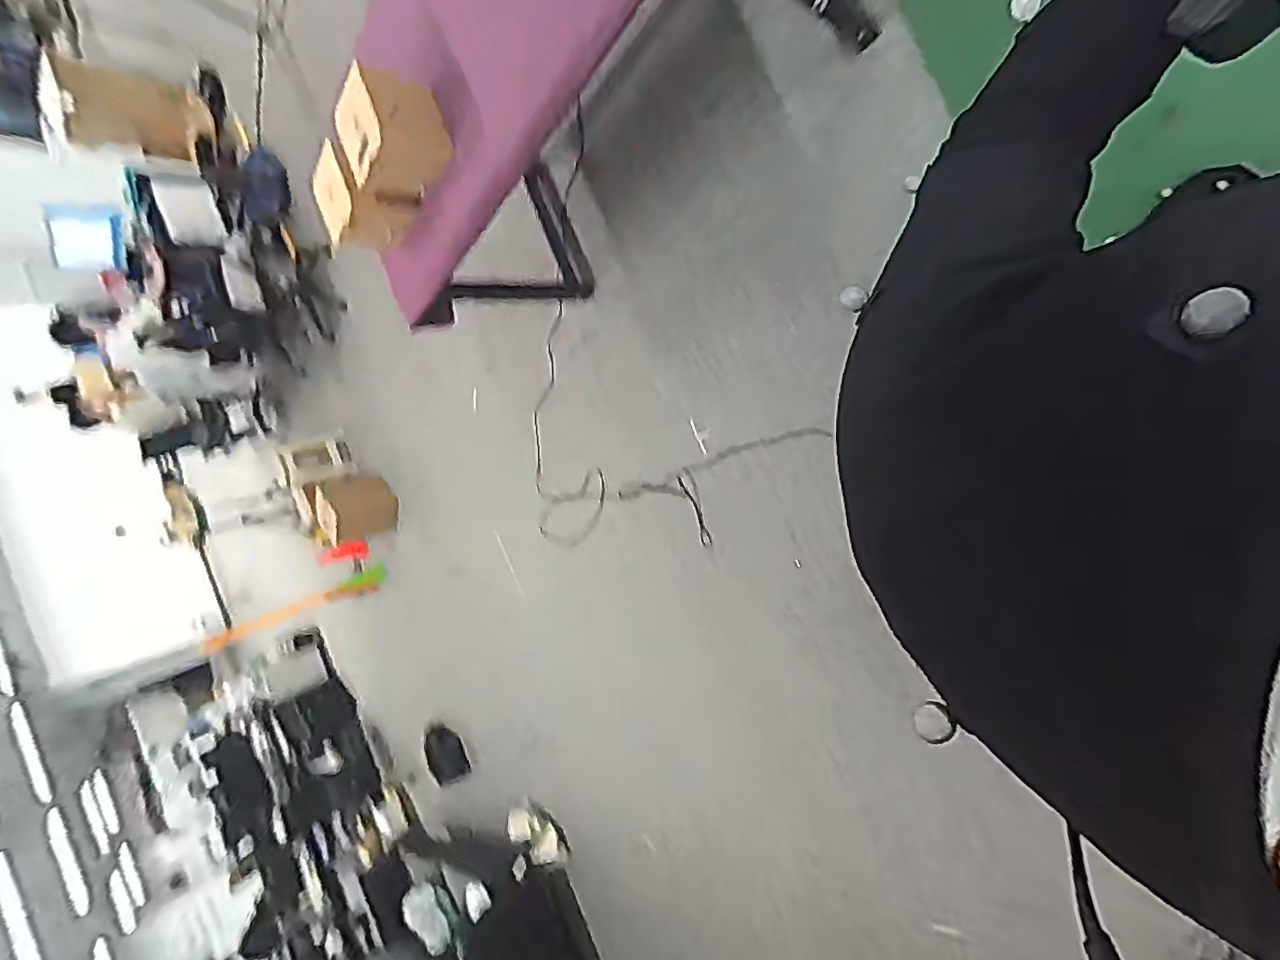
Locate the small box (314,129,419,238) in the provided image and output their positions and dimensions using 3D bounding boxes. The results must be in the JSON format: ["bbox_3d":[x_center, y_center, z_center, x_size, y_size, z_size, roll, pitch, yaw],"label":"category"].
[{"bbox_3d":[-0.698,-0.746,1.384,0.168,0.176,0.179,-24,87,45],"label":"small box"}]

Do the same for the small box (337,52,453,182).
[{"bbox_3d":[-0.553,-0.808,1.229,0.168,0.176,0.179,-22,88,45],"label":"small box"}]
